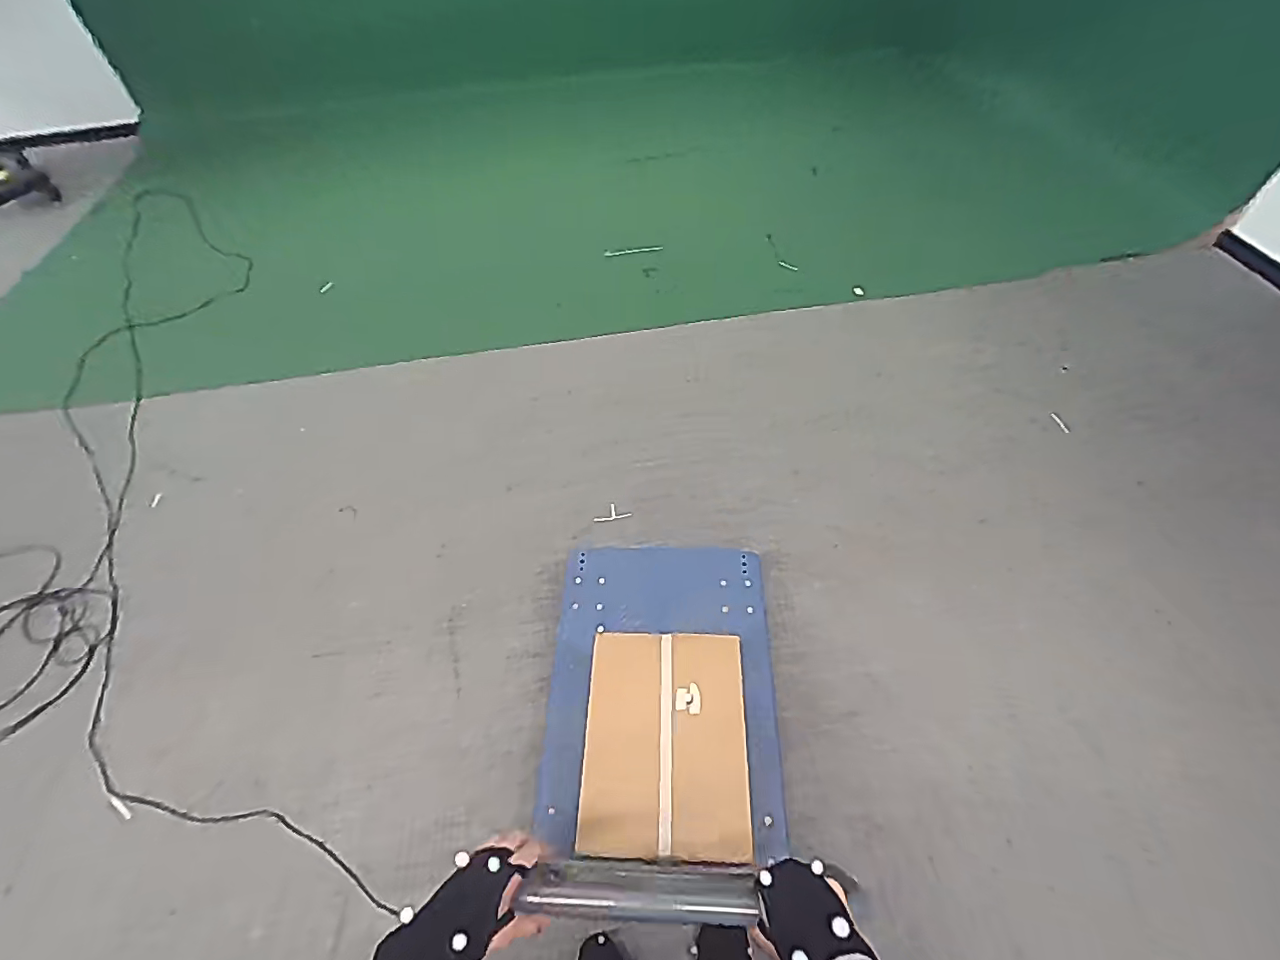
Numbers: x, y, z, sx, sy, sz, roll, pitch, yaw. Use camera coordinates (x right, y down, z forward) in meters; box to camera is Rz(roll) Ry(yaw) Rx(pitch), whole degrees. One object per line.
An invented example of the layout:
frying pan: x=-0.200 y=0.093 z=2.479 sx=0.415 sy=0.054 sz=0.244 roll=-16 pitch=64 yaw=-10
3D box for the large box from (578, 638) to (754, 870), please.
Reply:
large box: x=0.058 y=0.593 z=1.170 sx=0.320 sy=0.320 sz=0.408 roll=1 pitch=53 yaw=3
